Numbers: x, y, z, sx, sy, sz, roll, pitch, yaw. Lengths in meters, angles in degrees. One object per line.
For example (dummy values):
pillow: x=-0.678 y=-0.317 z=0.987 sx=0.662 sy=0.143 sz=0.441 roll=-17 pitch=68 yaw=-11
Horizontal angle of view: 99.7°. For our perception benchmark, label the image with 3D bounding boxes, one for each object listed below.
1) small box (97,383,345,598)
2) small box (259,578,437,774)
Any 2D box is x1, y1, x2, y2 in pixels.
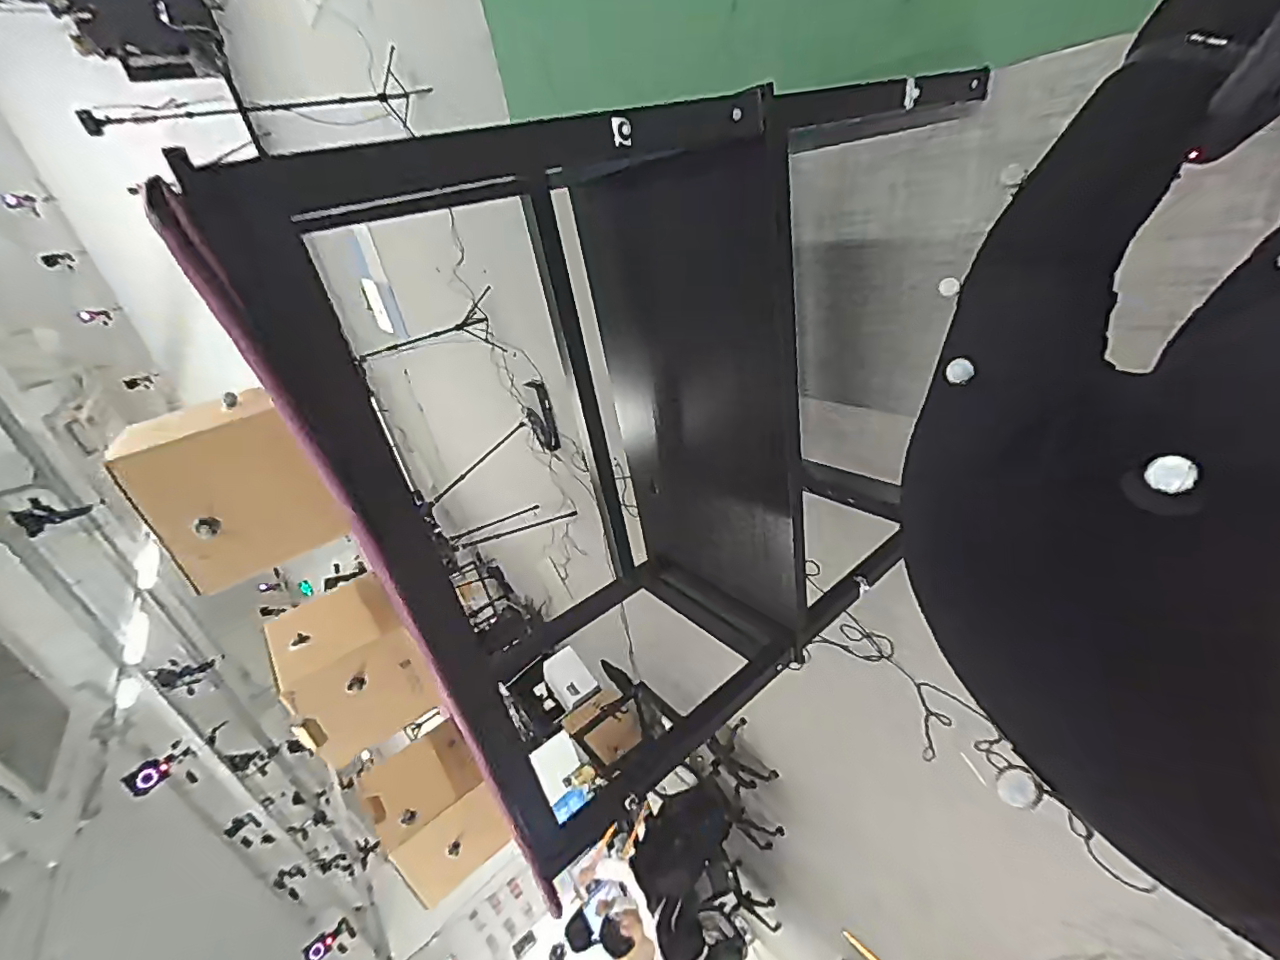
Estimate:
small box: x=-0.483 y=0.001 z=0.653 sx=0.168 sy=0.176 sz=0.179 roll=26 pitch=136 yaw=50
small box: x=-0.420 y=0.273 z=0.794 sx=0.179 sy=0.176 sz=0.168 roll=27 pitch=135 yaw=47
